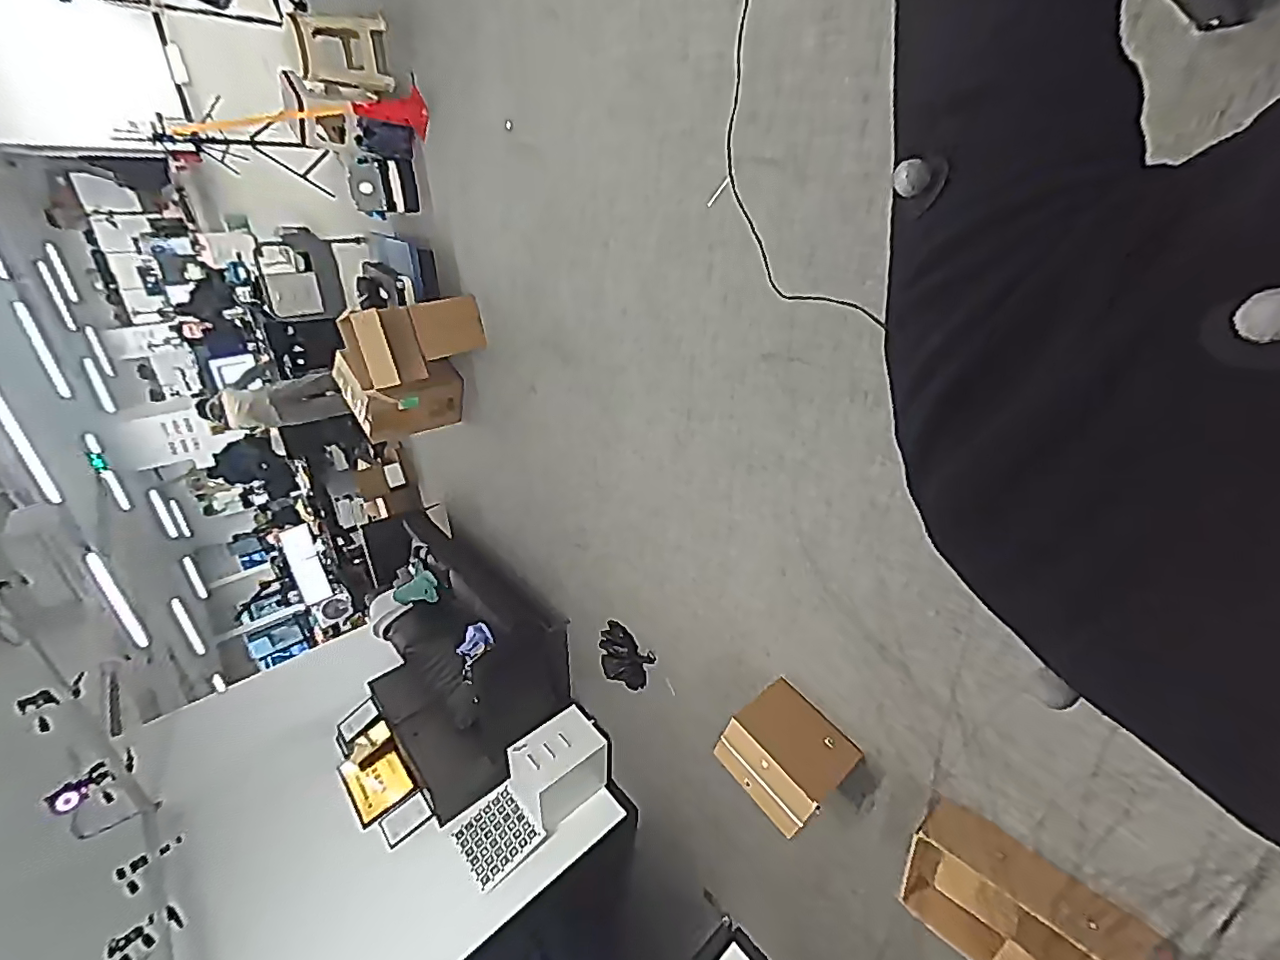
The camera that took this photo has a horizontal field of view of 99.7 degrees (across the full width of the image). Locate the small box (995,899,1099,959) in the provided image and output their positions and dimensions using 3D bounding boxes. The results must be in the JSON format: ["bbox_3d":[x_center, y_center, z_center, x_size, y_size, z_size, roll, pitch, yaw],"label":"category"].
[{"bbox_3d":[1.190,1.391,1.579,0.179,0.176,0.168,32,131,42],"label":"small box"}]
